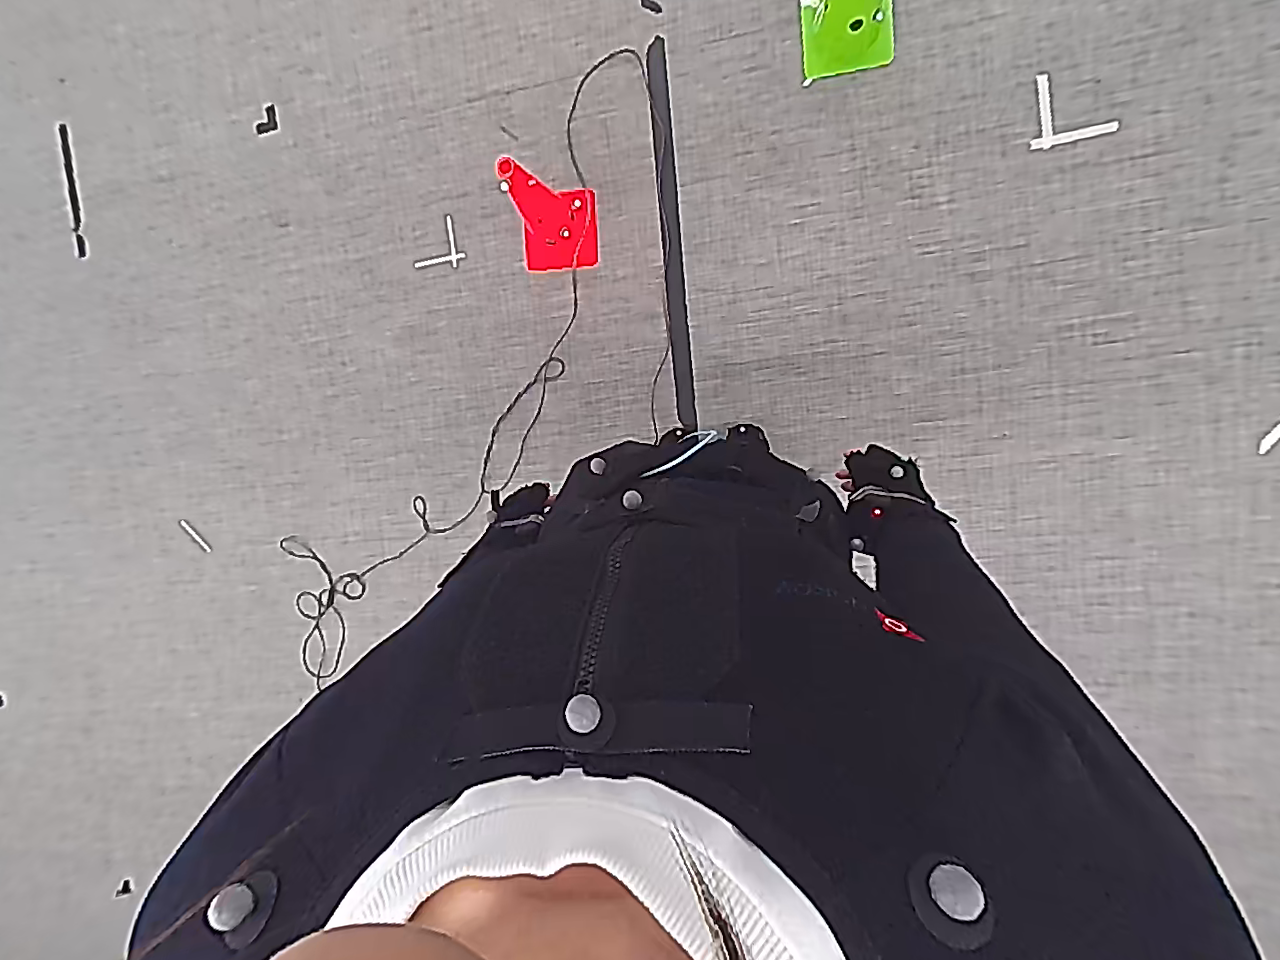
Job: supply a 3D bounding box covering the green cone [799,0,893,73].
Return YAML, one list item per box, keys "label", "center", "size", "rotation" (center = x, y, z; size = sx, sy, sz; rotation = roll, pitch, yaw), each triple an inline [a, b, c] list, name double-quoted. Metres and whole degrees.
- label: "green cone"
  center: [0.449, -1.041, 1.080]
  size: [0.202, 0.368, 0.200]
  rotation: [-5, 95, 9]

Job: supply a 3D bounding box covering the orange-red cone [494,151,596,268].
- label: "orange-red cone"
  center: [-0.244, -0.647, 1.246]
  size: [0.199, 0.360, 0.198]
  rotation: [0, 94, 11]
